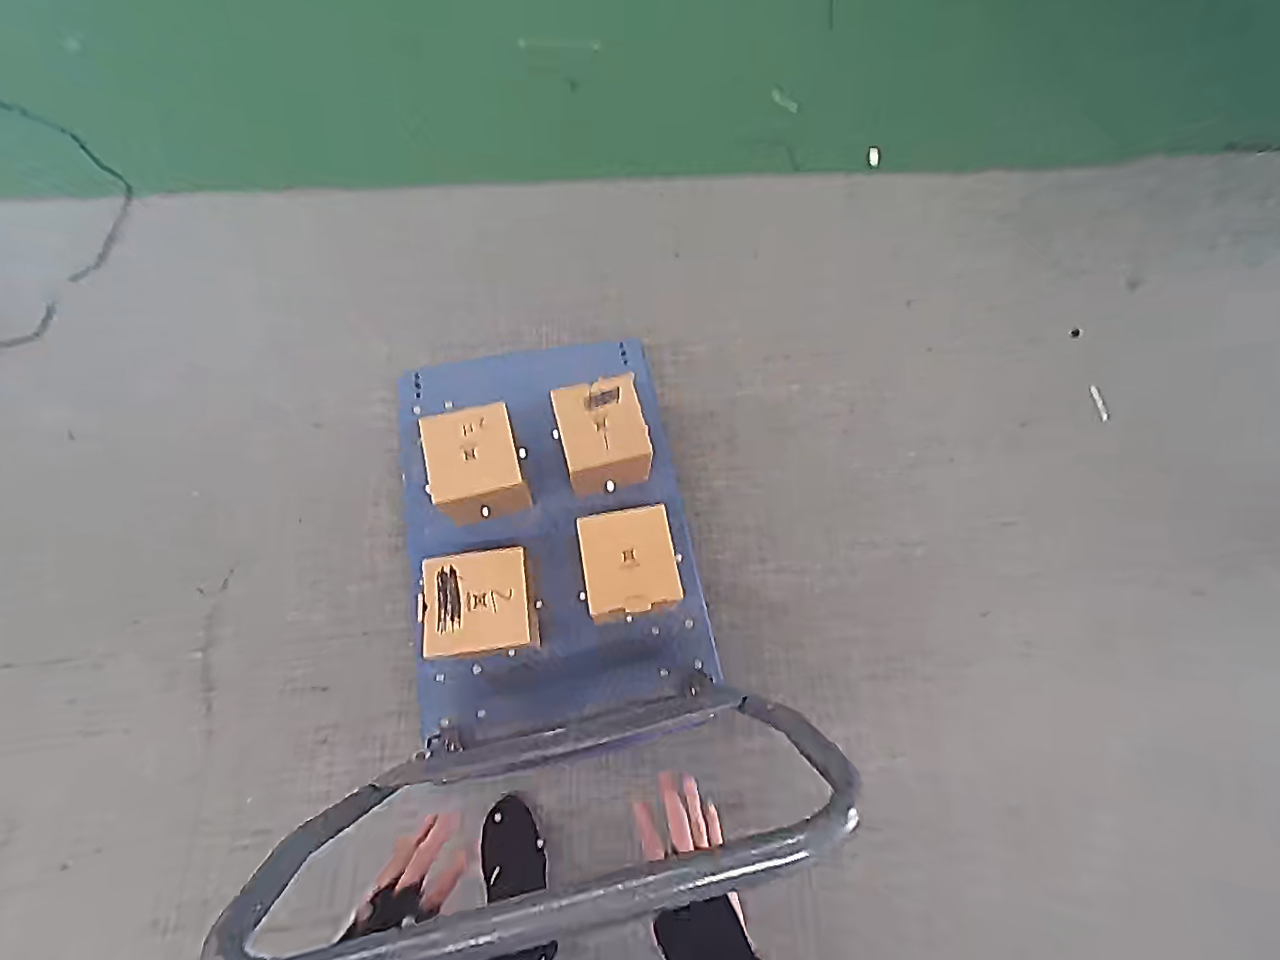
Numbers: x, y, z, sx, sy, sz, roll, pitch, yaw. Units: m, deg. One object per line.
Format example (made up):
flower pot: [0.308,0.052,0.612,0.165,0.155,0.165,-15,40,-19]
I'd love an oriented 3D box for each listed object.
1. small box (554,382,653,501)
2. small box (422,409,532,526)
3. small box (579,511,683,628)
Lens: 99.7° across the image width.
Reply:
small box: [-0.078,-0.075,1.120,0.168,0.176,0.179,-13,73,-7]
small box: [-0.320,-0.016,1.085,0.168,0.176,0.179,-13,71,-9]
small box: [-0.024,0.176,1.034,0.168,0.176,0.179,-9,71,-7]
